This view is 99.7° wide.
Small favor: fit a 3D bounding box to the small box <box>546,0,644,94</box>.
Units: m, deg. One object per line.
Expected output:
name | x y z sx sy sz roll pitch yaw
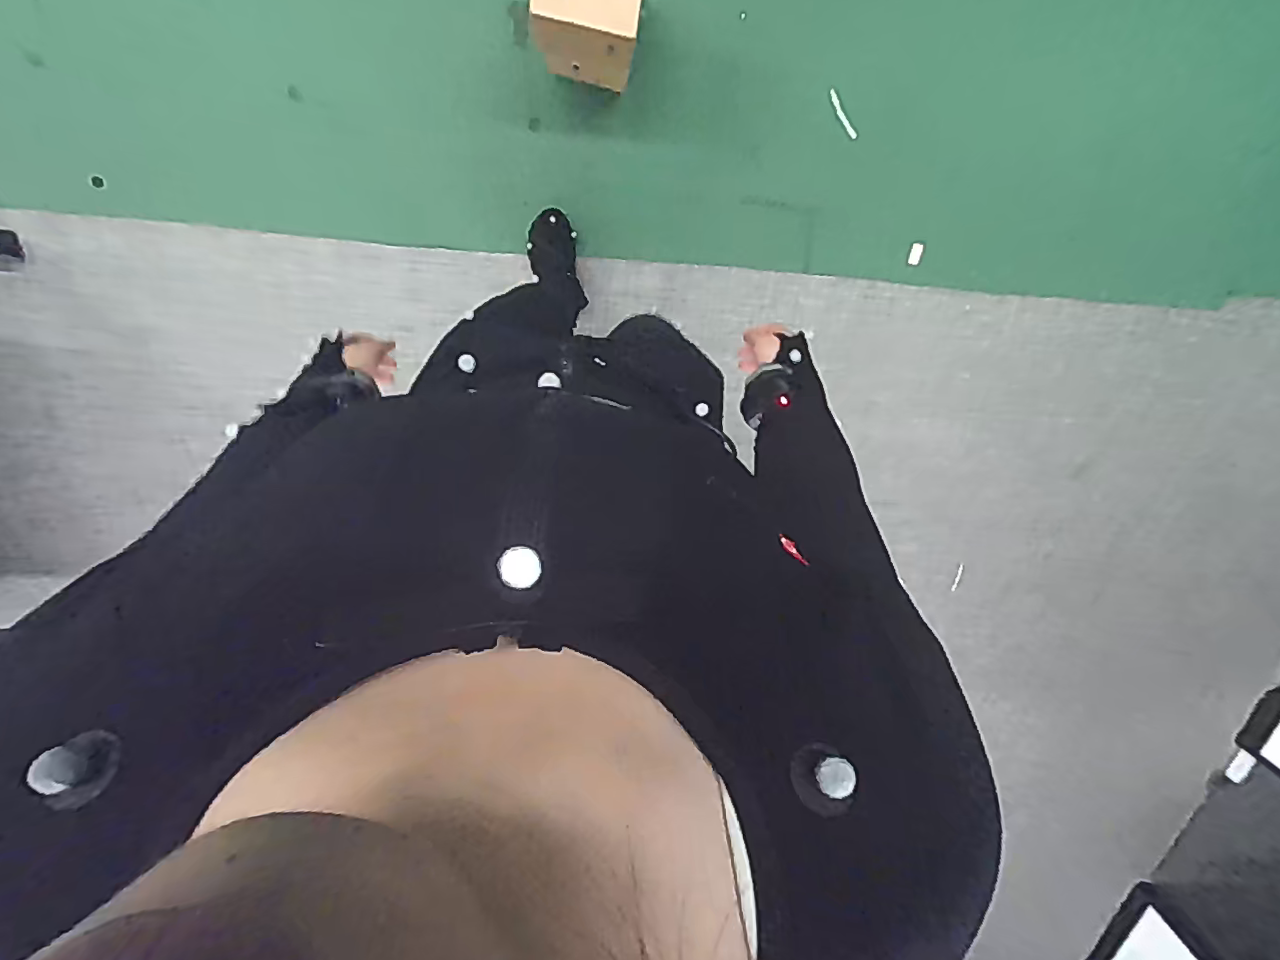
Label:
small box | -0.085 -0.897 1.067 0.168 0.176 0.179 9 112 -9
